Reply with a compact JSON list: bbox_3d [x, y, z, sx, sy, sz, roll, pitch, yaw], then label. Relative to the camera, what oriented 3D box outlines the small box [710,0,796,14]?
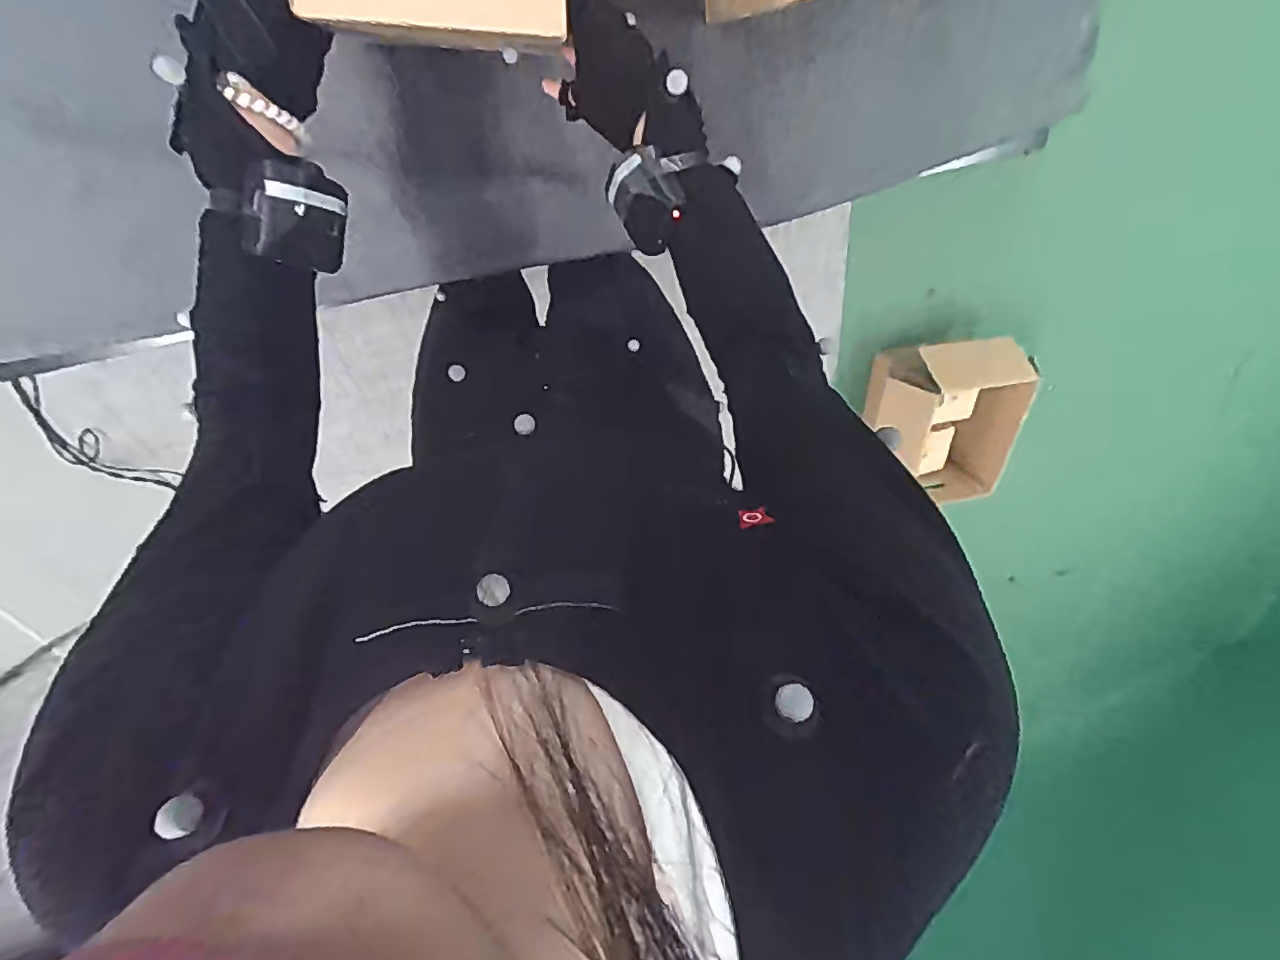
[{"bbox_3d":[0.153,-0.481,0.407,0.179,0.176,0.168,-16,128,-3],"label":"small box"}]
